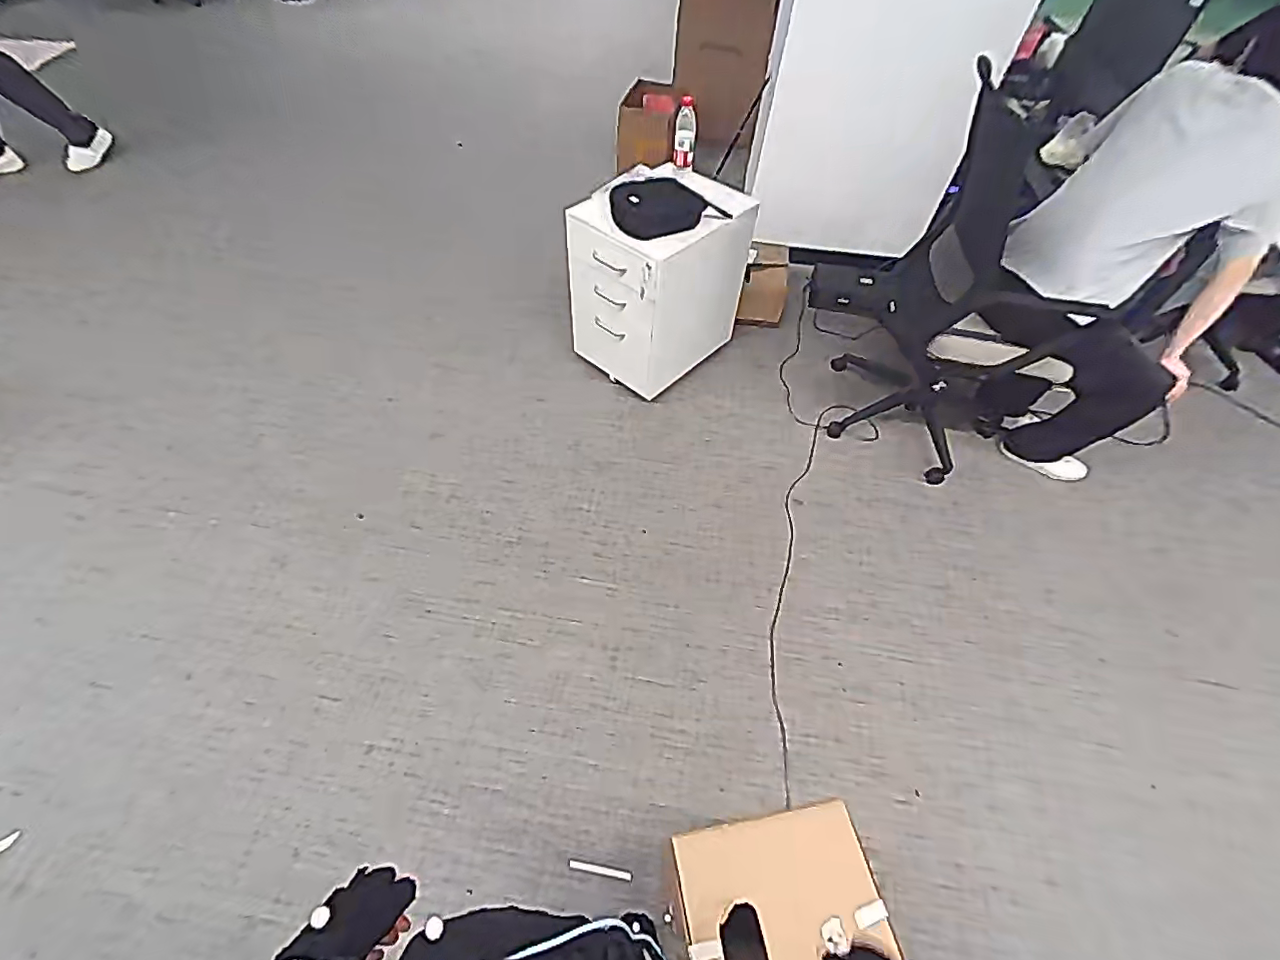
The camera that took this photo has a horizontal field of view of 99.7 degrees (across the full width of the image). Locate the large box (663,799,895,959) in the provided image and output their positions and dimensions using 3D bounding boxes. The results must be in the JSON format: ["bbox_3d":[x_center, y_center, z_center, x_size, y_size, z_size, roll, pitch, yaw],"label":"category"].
[{"bbox_3d":[0.229,0.822,0.994,0.320,0.408,0.320,-8,52,-6],"label":"large box"}]
